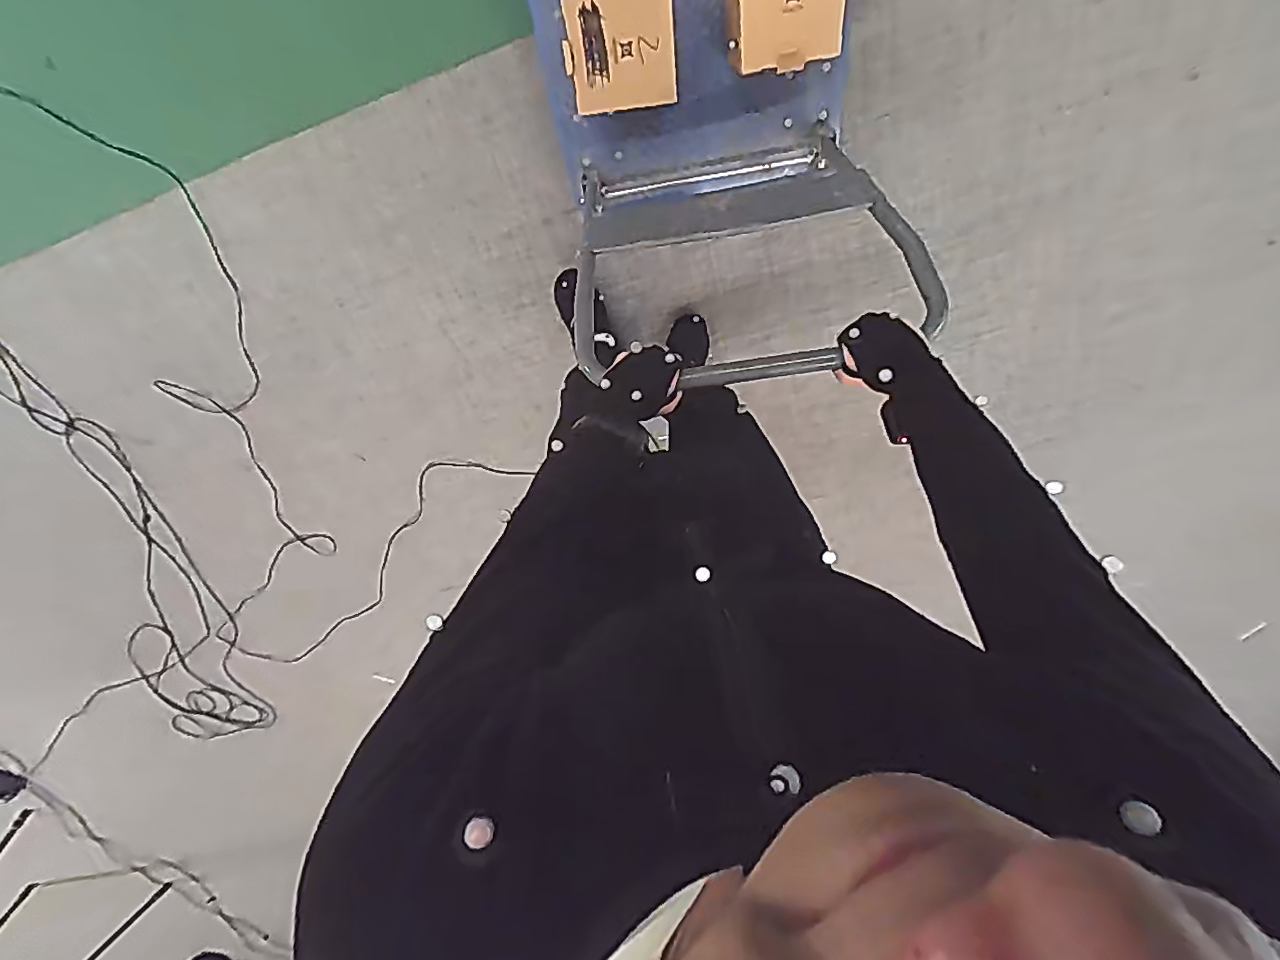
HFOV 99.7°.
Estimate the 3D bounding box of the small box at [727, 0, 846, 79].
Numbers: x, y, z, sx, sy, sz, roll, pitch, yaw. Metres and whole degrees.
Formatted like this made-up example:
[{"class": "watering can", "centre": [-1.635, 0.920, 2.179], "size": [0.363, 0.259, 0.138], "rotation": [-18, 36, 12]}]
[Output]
[{"class": "small box", "centre": [0.239, -0.805, 0.908], "size": [0.168, 0.176, 0.179], "rotation": [-7, 134, 6]}]
